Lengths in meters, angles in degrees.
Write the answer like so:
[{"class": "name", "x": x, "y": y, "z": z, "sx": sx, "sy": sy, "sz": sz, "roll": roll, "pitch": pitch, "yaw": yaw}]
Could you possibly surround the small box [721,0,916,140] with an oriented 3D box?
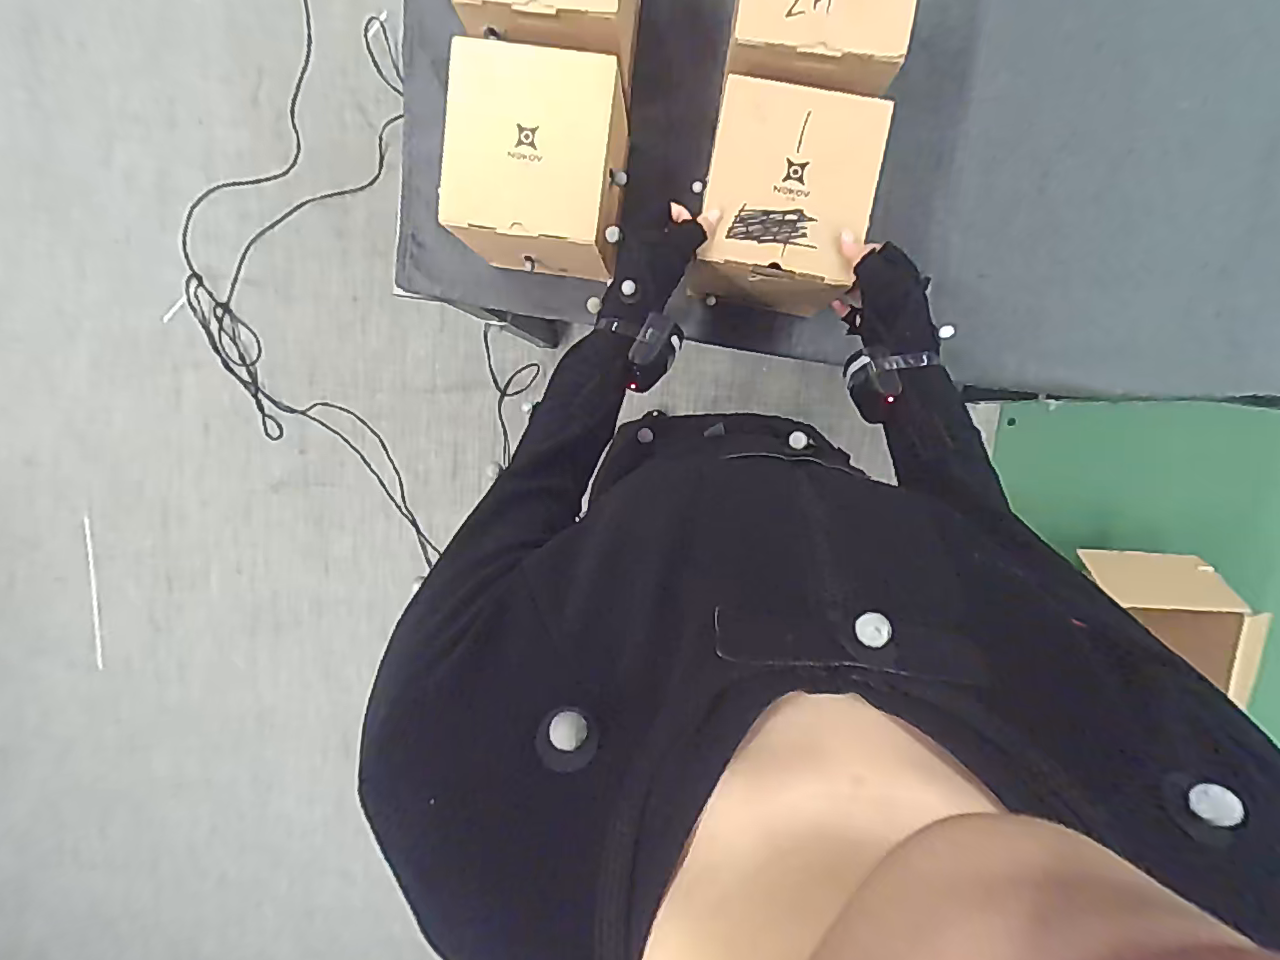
[{"class": "small box", "x": 0.186, "y": -0.508, "z": 0.582, "sx": 0.168, "sy": 0.176, "sz": 0.179, "roll": 9, "pitch": 98, "yaw": 1}]
